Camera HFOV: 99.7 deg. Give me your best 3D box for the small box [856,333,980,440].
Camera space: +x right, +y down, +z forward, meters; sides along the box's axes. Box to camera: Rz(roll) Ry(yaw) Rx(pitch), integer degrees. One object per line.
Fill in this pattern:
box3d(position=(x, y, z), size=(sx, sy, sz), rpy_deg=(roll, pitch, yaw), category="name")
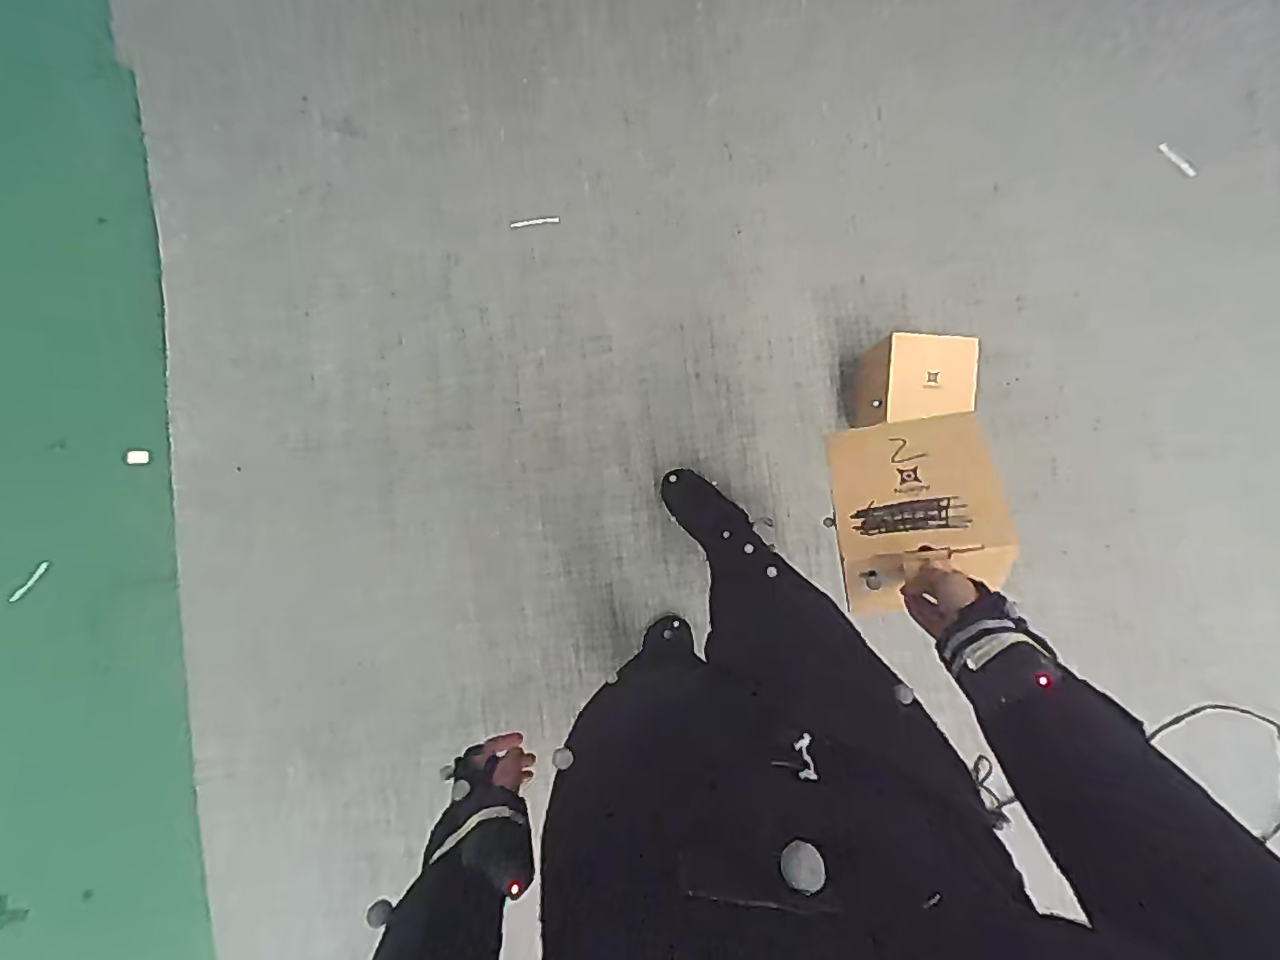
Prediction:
box3d(position=(0.552, -0.182, 1.094), size=(0.168, 0.176, 0.179), rpy_deg=(4, 89, 1), category="small box")
